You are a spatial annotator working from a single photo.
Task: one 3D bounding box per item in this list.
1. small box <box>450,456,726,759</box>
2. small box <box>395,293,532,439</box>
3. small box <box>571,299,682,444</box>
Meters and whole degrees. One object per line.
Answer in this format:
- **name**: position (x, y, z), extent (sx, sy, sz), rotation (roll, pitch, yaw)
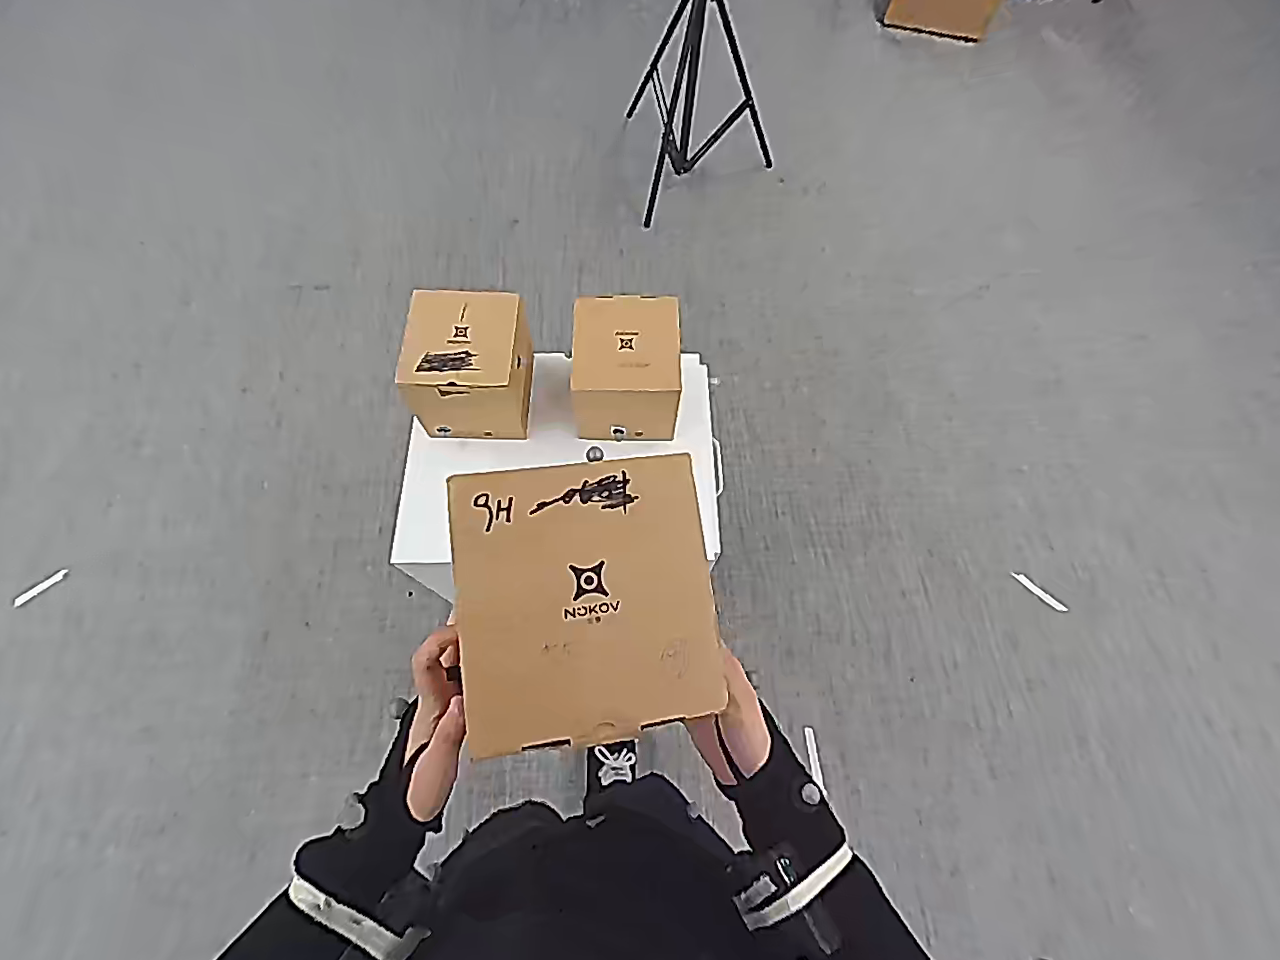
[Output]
- **small box**: position (-0.046, 0.088, 0.427), extent (0.168, 0.176, 0.179), rotation (-6, 81, -12)
- **small box**: position (-0.272, -0.178, 0.879), extent (0.168, 0.176, 0.179), rotation (1, 67, -2)
- **small box**: position (-0.023, -0.174, 0.891), extent (0.168, 0.176, 0.179), rotation (-1, 69, -1)
